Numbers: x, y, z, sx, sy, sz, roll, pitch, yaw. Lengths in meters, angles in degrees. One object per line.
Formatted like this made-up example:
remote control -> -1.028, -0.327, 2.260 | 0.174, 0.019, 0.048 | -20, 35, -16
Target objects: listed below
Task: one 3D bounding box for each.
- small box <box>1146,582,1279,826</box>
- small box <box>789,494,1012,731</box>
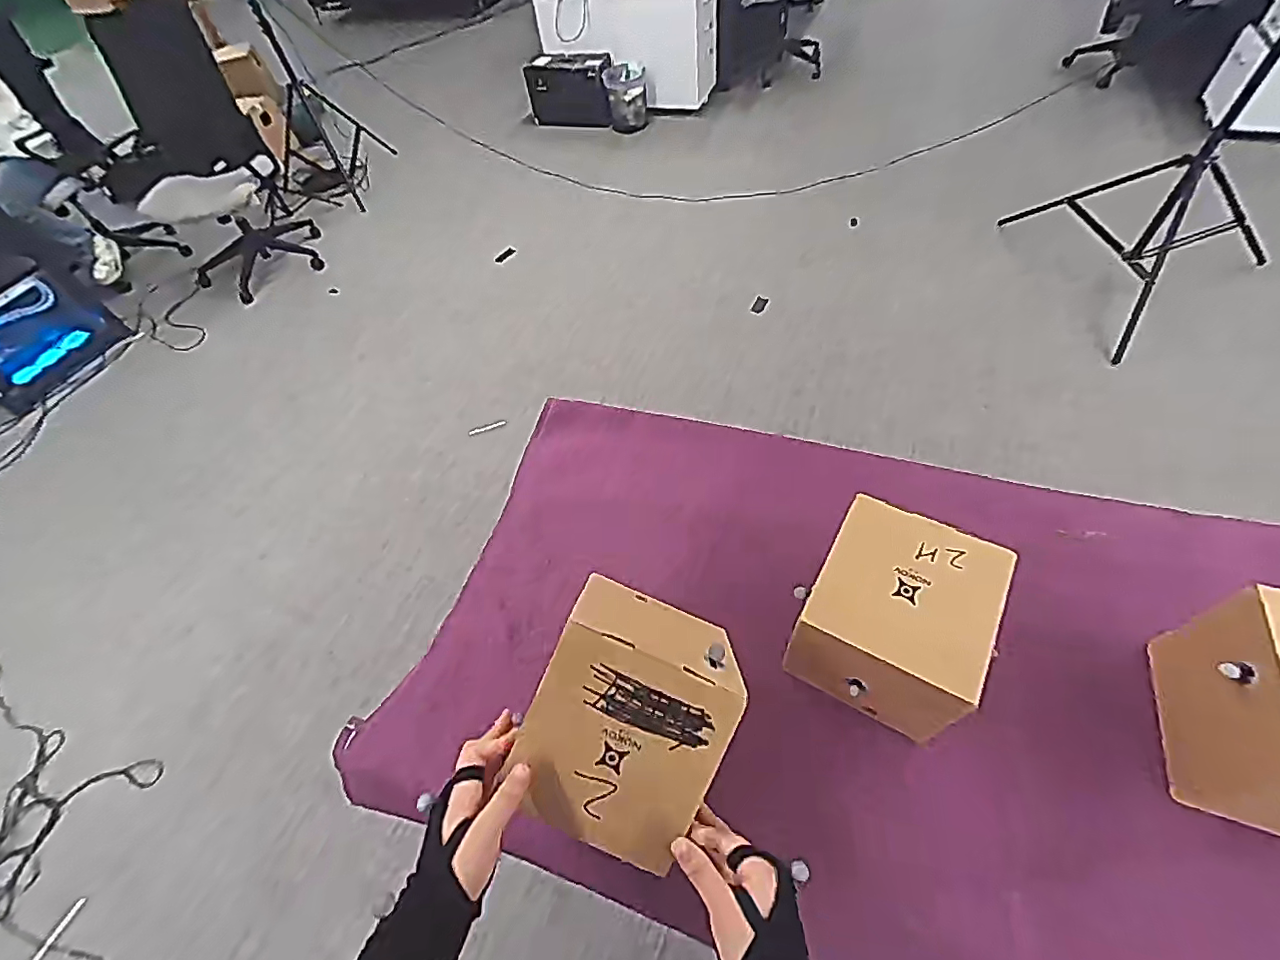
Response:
small box -> 0.636, 0.229, 0.513 | 0.168, 0.176, 0.179 | 13, 55, 17
small box -> 0.280, 0.154, 0.613 | 0.168, 0.176, 0.179 | 24, 60, 22
